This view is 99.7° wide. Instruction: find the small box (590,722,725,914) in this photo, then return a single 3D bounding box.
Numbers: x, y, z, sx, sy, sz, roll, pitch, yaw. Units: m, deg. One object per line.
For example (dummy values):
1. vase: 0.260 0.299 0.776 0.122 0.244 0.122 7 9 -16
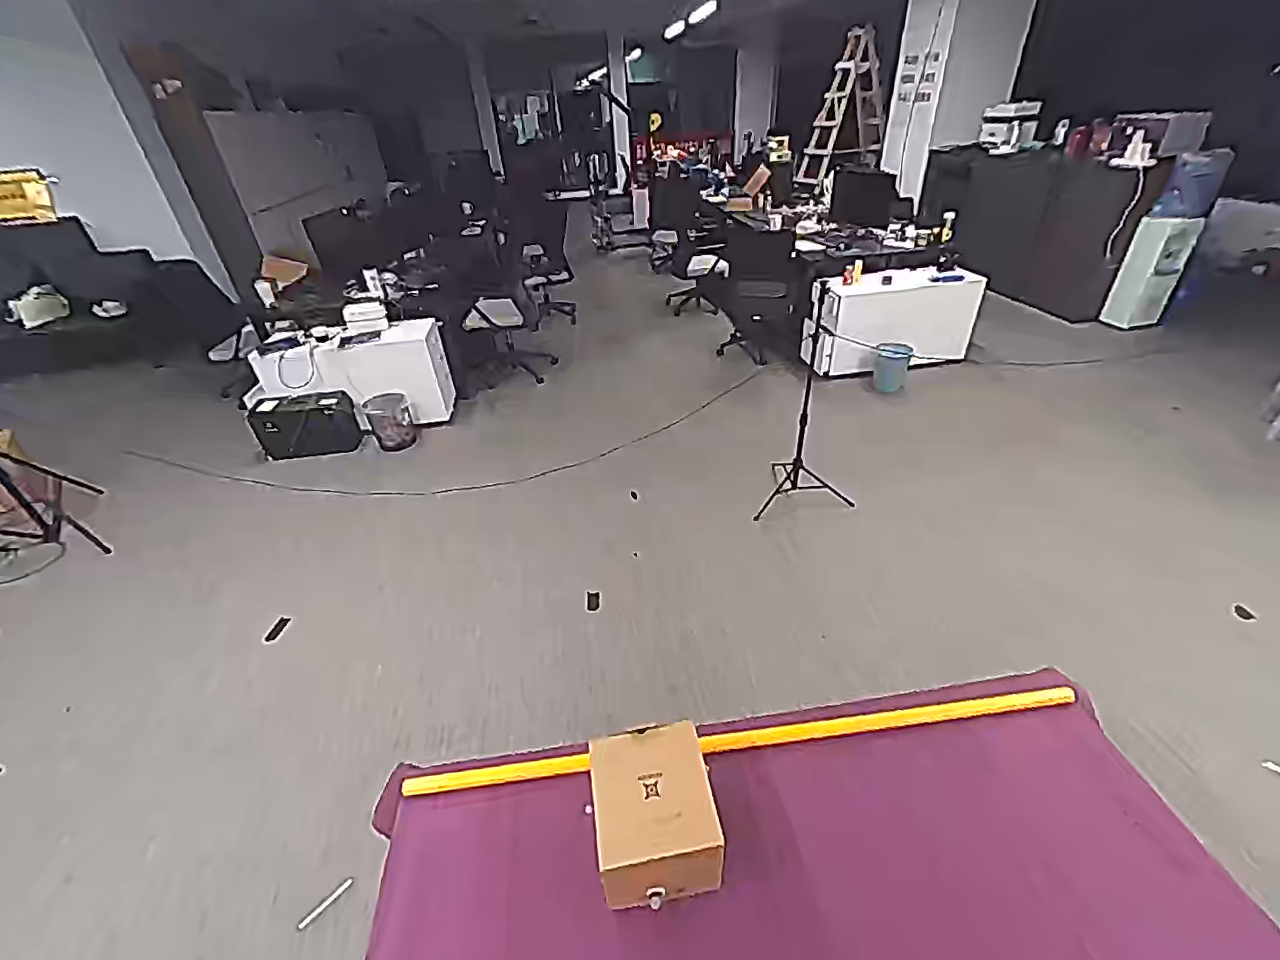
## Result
1. small box: 0.021 0.496 0.802 0.168 0.176 0.179 -9 36 -6
